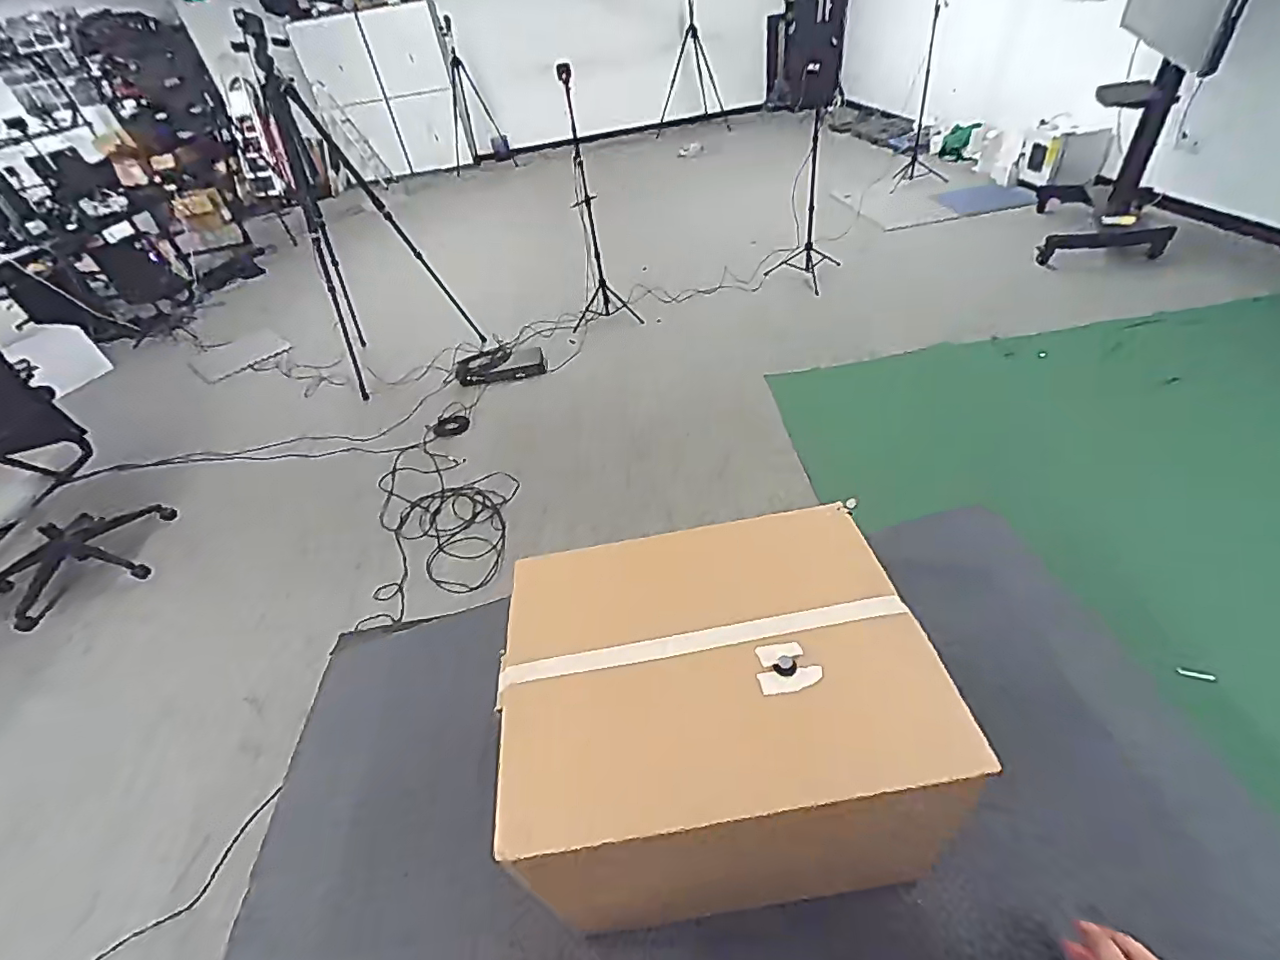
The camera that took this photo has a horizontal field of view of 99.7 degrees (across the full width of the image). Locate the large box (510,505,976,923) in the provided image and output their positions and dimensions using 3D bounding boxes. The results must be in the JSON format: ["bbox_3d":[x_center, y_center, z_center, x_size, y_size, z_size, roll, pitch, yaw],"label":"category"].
[{"bbox_3d":[0.085,0.275,0.651,0.408,0.320,0.320,-10,42,-1],"label":"large box"}]
